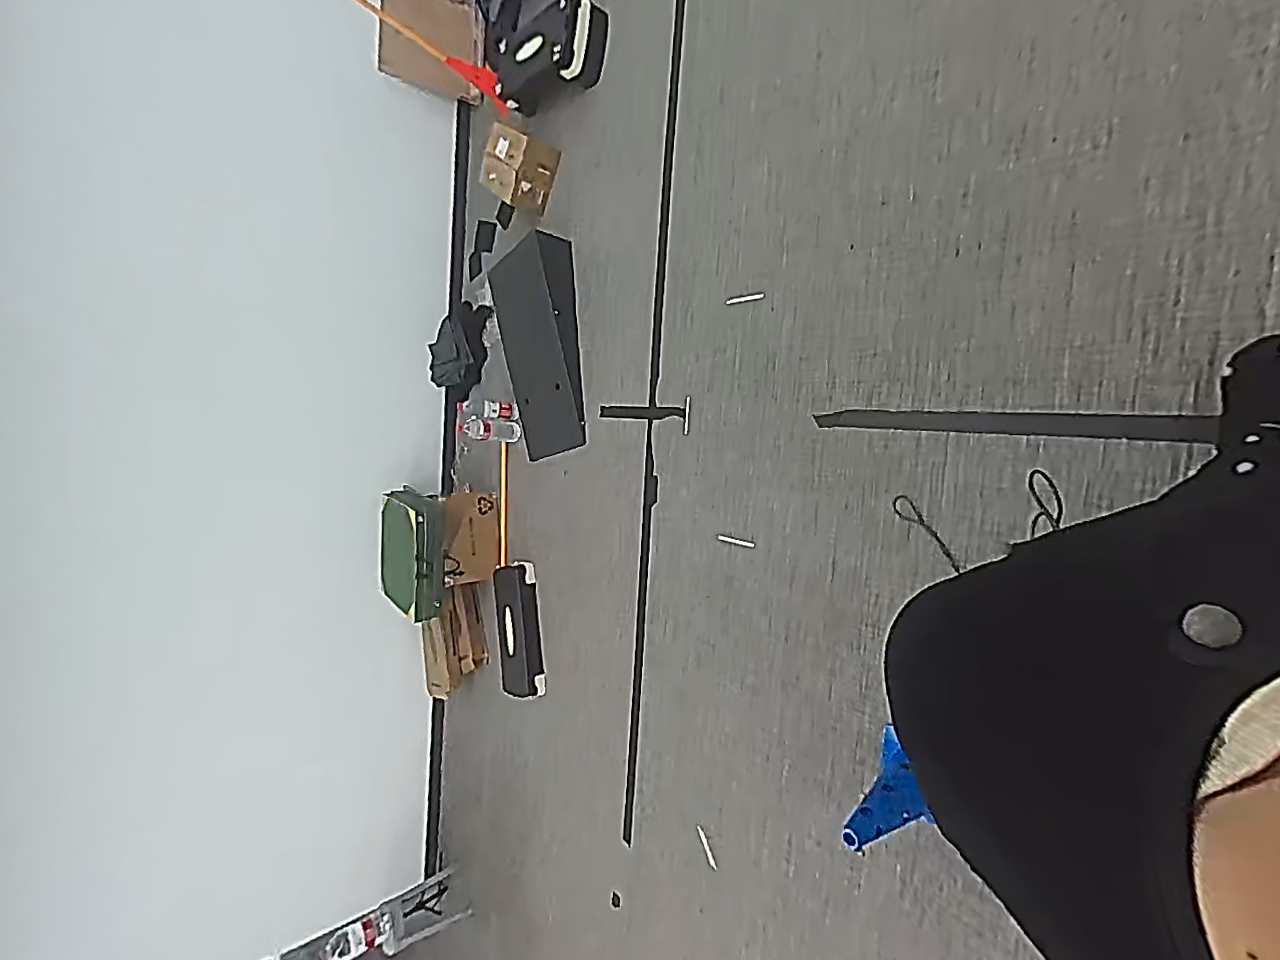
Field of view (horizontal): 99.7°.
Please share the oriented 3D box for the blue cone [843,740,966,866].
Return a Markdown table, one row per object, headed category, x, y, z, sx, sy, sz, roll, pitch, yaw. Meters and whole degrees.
| category | x | y | z | sx | sy | sz | roll | pitch | yaw |
| --- | --- | --- | --- | --- | --- | --- | --- | --- | --- |
| blue cone | 0.570 | 0.757 | 1.222 | 0.193 | 0.380 | 0.192 | 10 | 99 | 49 |
